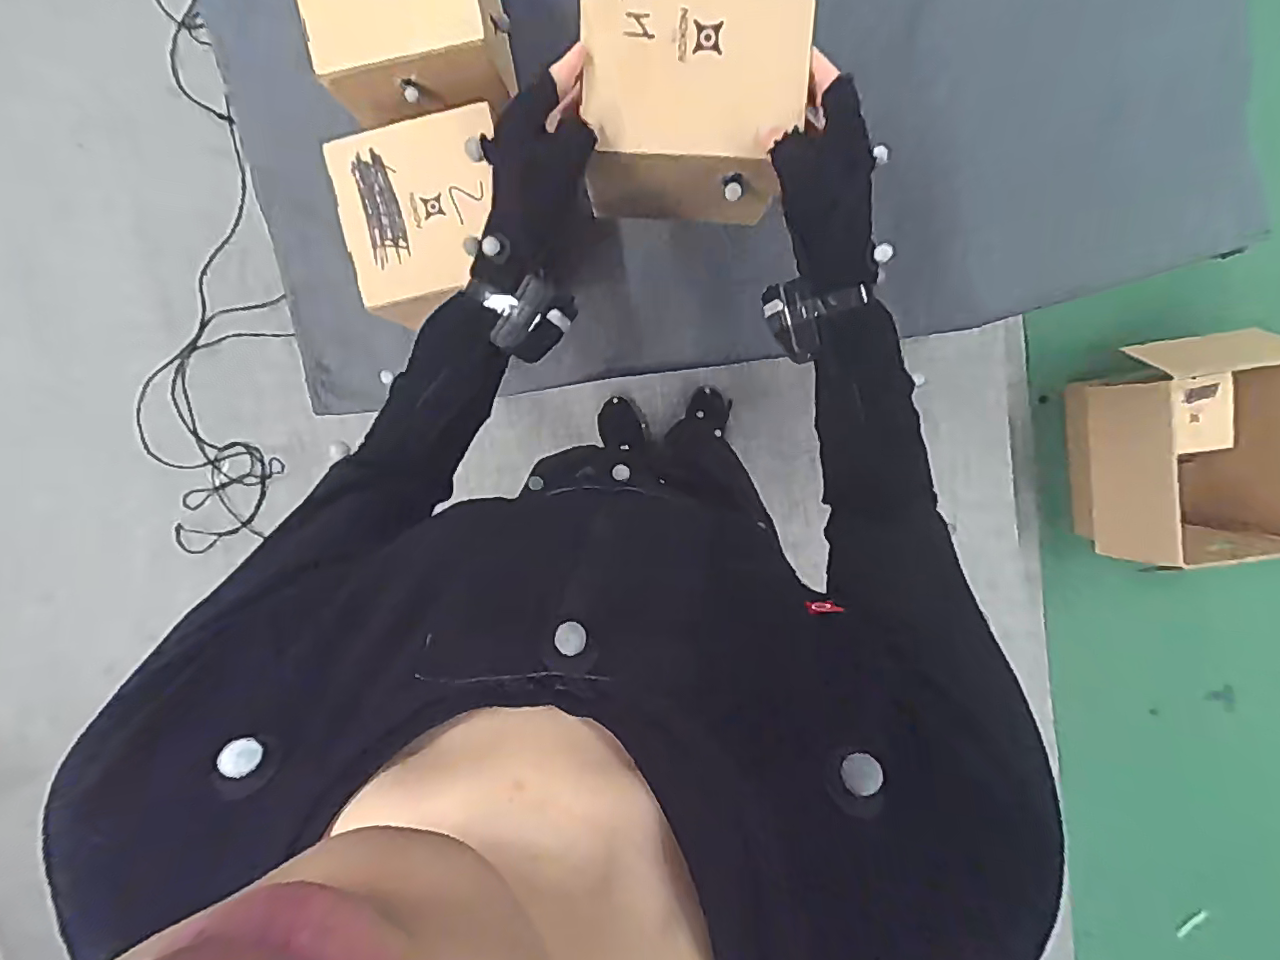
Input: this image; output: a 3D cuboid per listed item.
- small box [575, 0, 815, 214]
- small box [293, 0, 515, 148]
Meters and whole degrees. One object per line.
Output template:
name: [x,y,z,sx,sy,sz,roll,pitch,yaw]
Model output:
small box: [0.041,-0.348,0.478,0.179,0.176,0.168,3,100,0]
small box: [-0.246,-0.497,0.590,0.179,0.176,0.168,-10,98,4]
